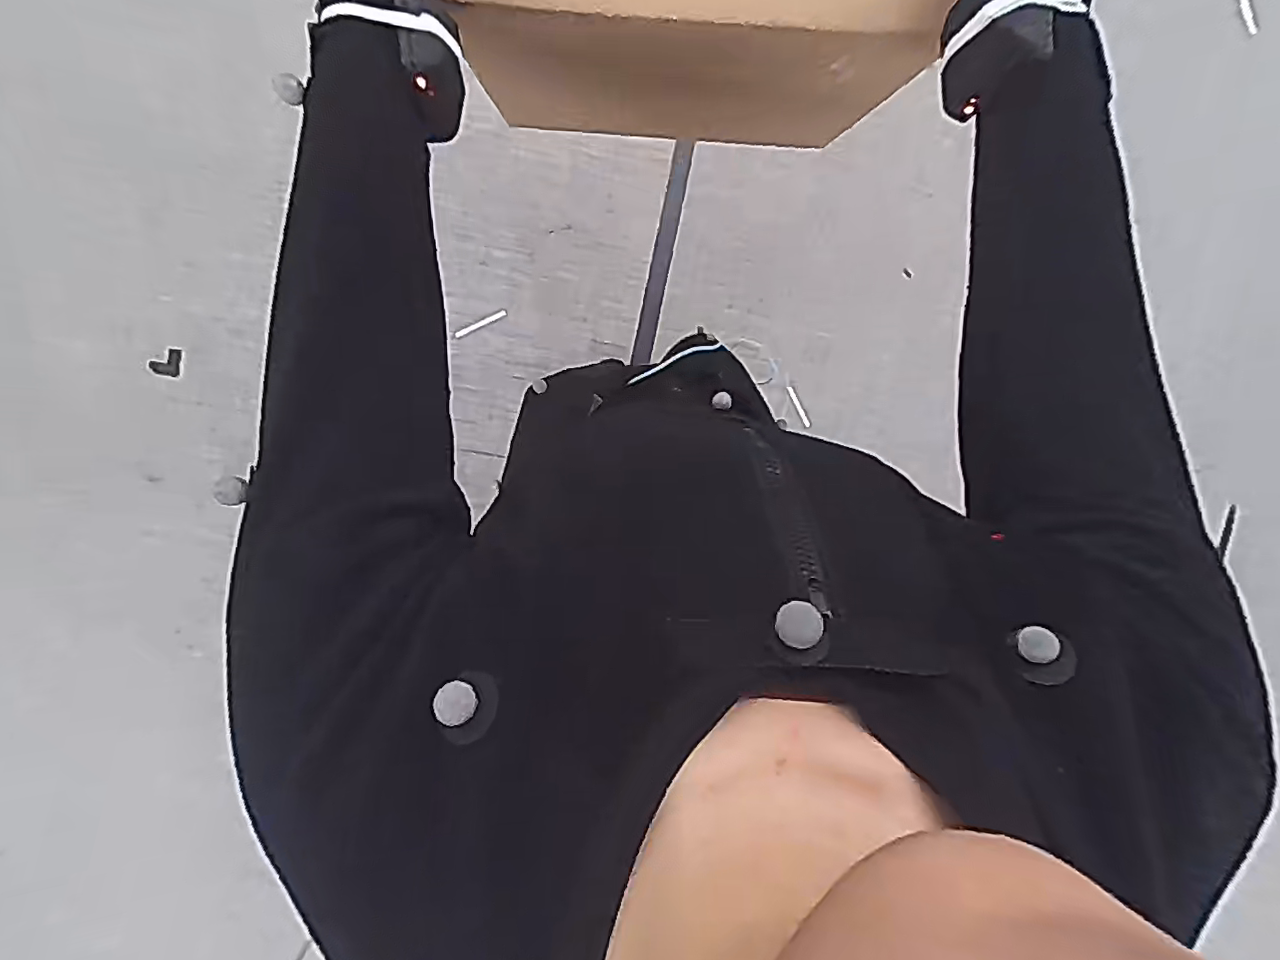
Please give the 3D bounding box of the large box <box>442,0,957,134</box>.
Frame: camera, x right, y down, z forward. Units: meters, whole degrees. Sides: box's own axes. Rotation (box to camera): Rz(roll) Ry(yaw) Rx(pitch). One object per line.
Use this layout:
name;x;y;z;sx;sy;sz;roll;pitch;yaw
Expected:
large box;0.041;-0.545;0.499;0.408;0.320;0.320;2;109;-3
